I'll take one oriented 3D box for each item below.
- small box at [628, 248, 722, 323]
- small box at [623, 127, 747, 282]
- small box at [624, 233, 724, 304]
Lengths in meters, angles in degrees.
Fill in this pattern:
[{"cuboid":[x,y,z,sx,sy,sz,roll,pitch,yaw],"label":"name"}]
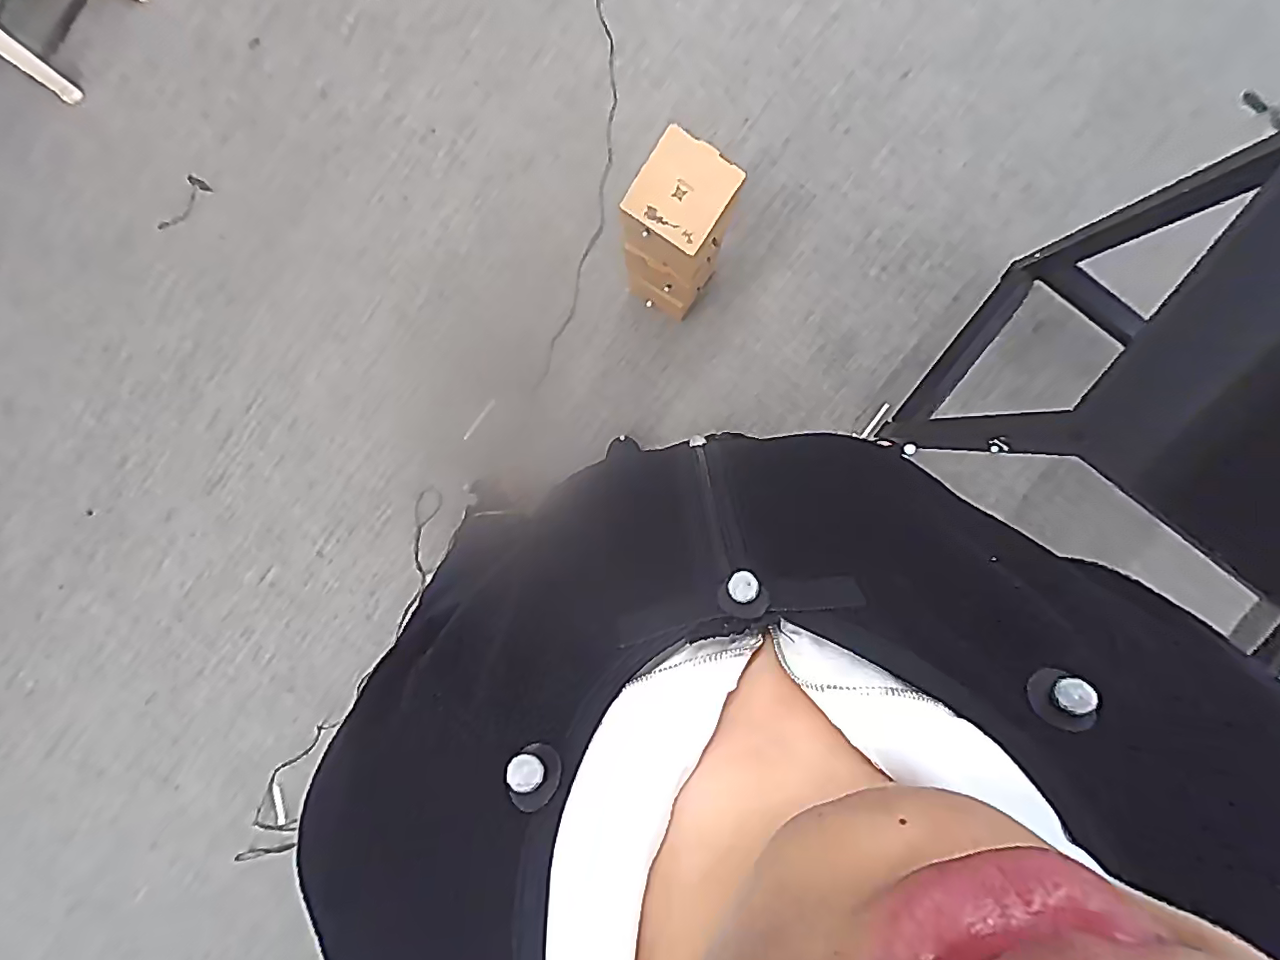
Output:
[{"cuboid":[0.085,-0.531,1.380,0.168,0.176,0.179,34,95,0],"label":"small box"},{"cuboid":[0.081,-0.523,1.053,0.168,0.176,0.179,34,94,0],"label":"small box"},{"cuboid":[0.080,-0.526,1.218,0.168,0.176,0.179,31,93,-1],"label":"small box"}]
